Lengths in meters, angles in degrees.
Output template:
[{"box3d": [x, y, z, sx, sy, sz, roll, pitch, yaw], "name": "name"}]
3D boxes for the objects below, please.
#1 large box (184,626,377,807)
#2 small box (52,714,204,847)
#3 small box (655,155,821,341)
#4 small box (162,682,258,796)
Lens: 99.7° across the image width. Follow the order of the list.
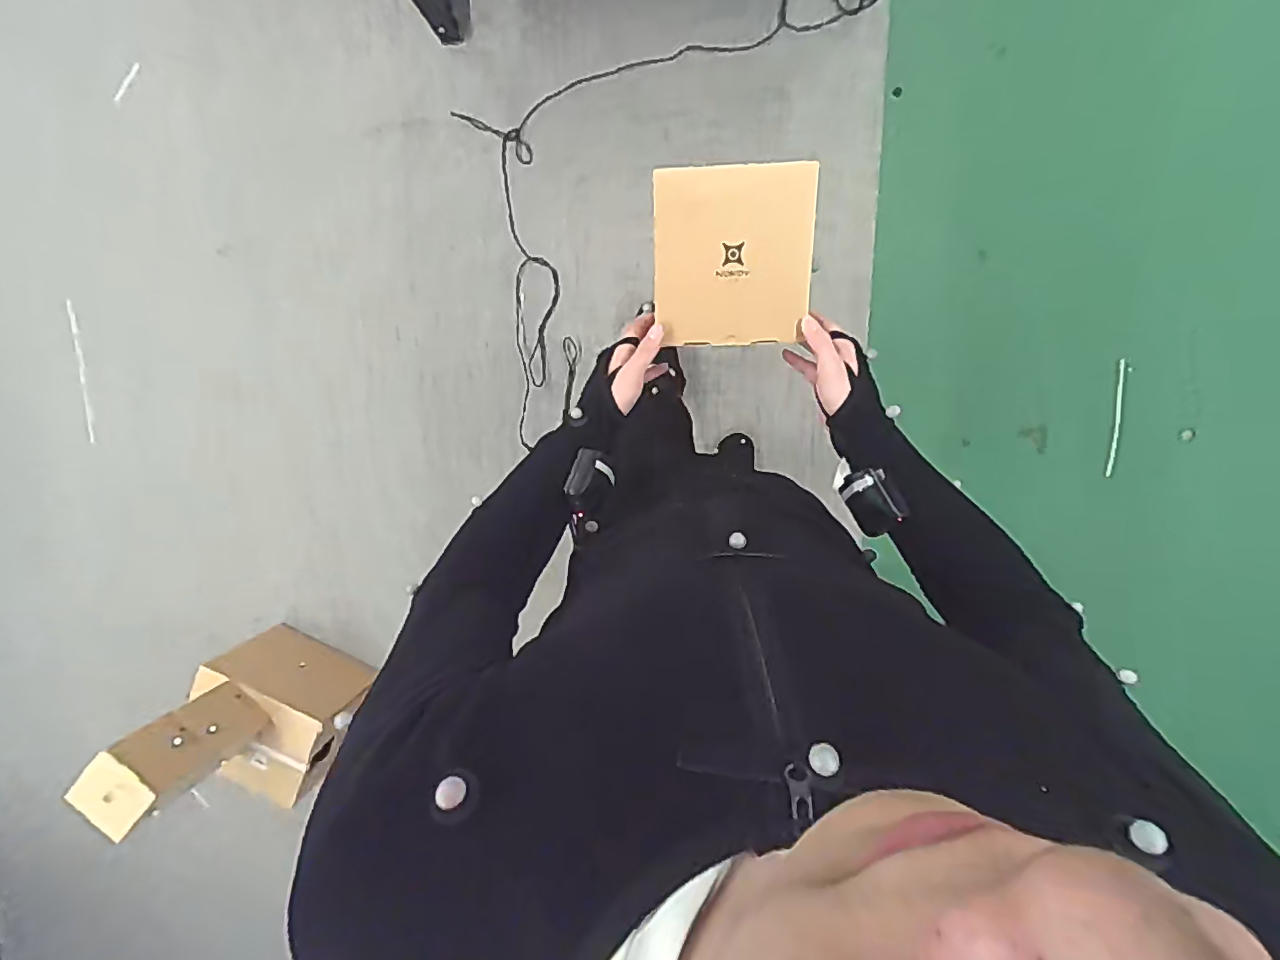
[{"box3d": [-1.132, 0.719, 1.699, 0.408, 0.320, 0.320, 24, 100, 1], "name": "large box"}, {"box3d": [-1.205, 0.706, 1.287, 0.168, 0.176, 0.179, 43, 98, -1], "name": "small box"}, {"box3d": [0.101, -0.263, 0.634, 0.168, 0.176, 0.179, -1, 112, 3], "name": "small box"}, {"box3d": [-1.186, 0.687, 1.451, 0.168, 0.176, 0.179, 44, 99, -1], "name": "small box"}]
